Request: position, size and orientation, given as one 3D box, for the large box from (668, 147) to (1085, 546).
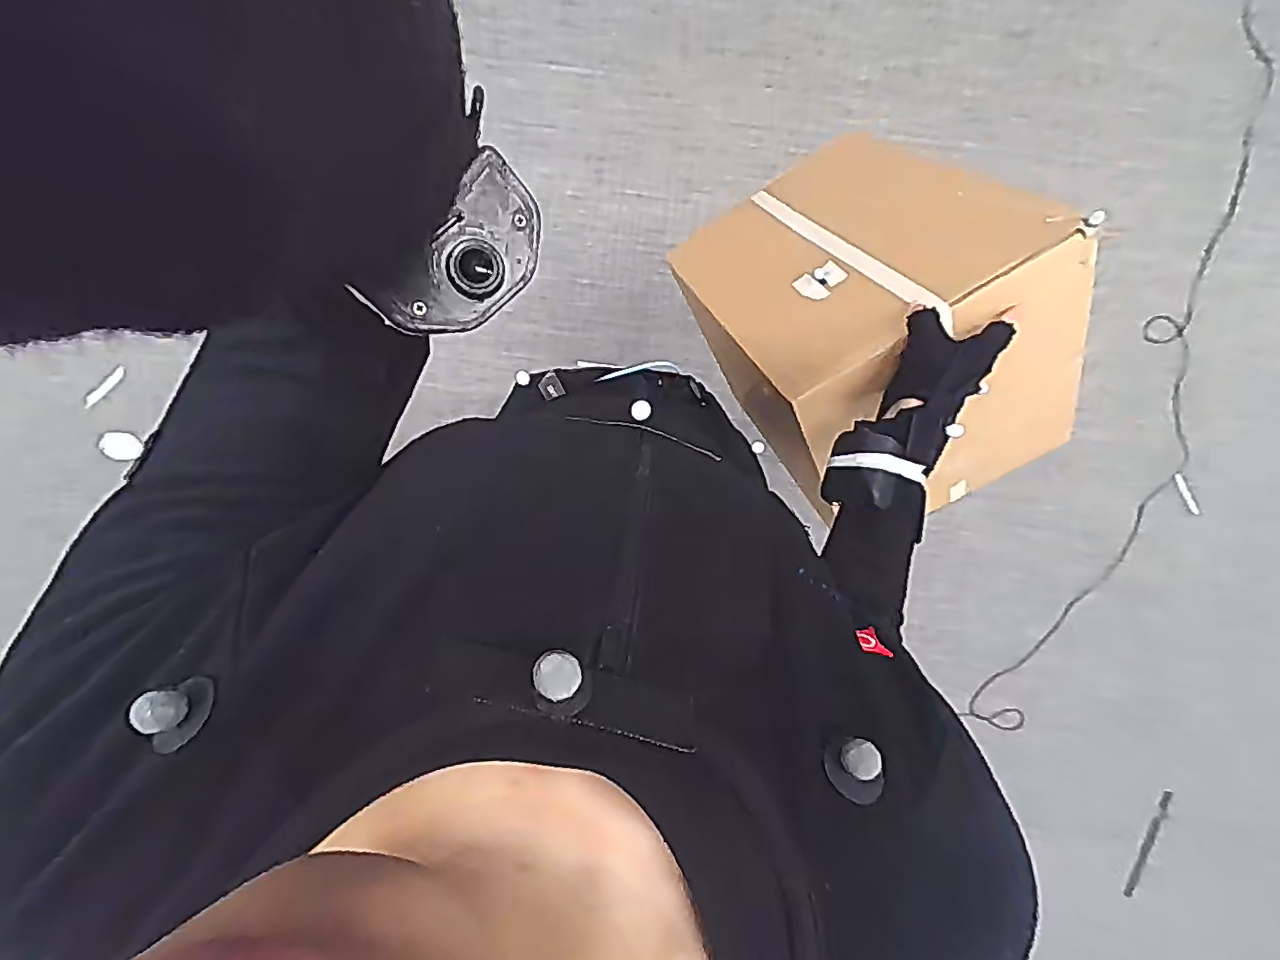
[{"bbox_3d":[0.291,-0.191,0.759,0.320,0.408,0.320,-32,135,9],"label":"large box"}]
